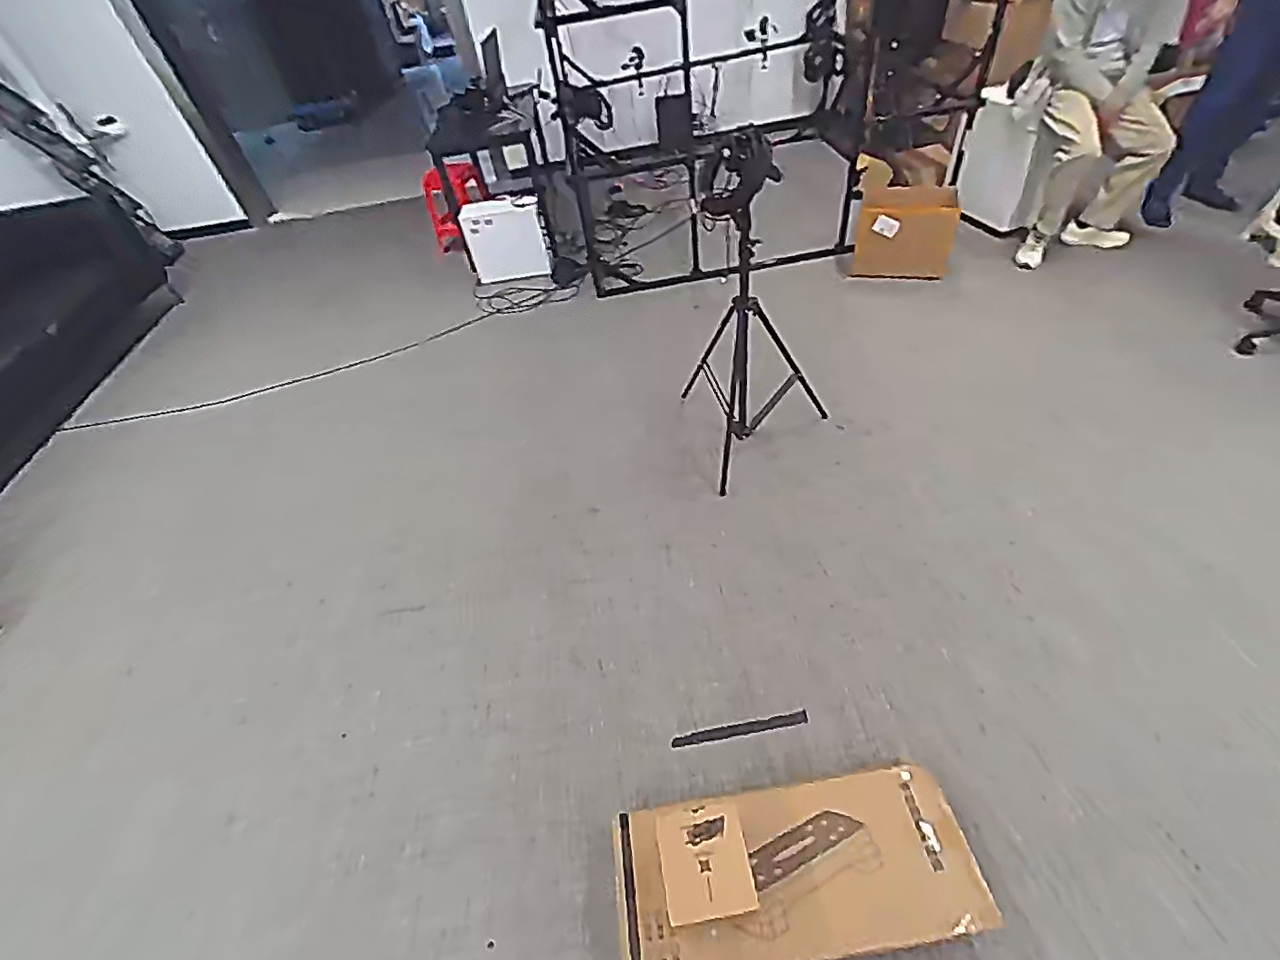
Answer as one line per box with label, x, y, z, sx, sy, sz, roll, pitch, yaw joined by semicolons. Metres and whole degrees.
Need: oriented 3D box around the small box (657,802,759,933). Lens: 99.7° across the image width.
small box;0.130;0.774;1.079;0.168;0.176;0.179;-10;47;-1
